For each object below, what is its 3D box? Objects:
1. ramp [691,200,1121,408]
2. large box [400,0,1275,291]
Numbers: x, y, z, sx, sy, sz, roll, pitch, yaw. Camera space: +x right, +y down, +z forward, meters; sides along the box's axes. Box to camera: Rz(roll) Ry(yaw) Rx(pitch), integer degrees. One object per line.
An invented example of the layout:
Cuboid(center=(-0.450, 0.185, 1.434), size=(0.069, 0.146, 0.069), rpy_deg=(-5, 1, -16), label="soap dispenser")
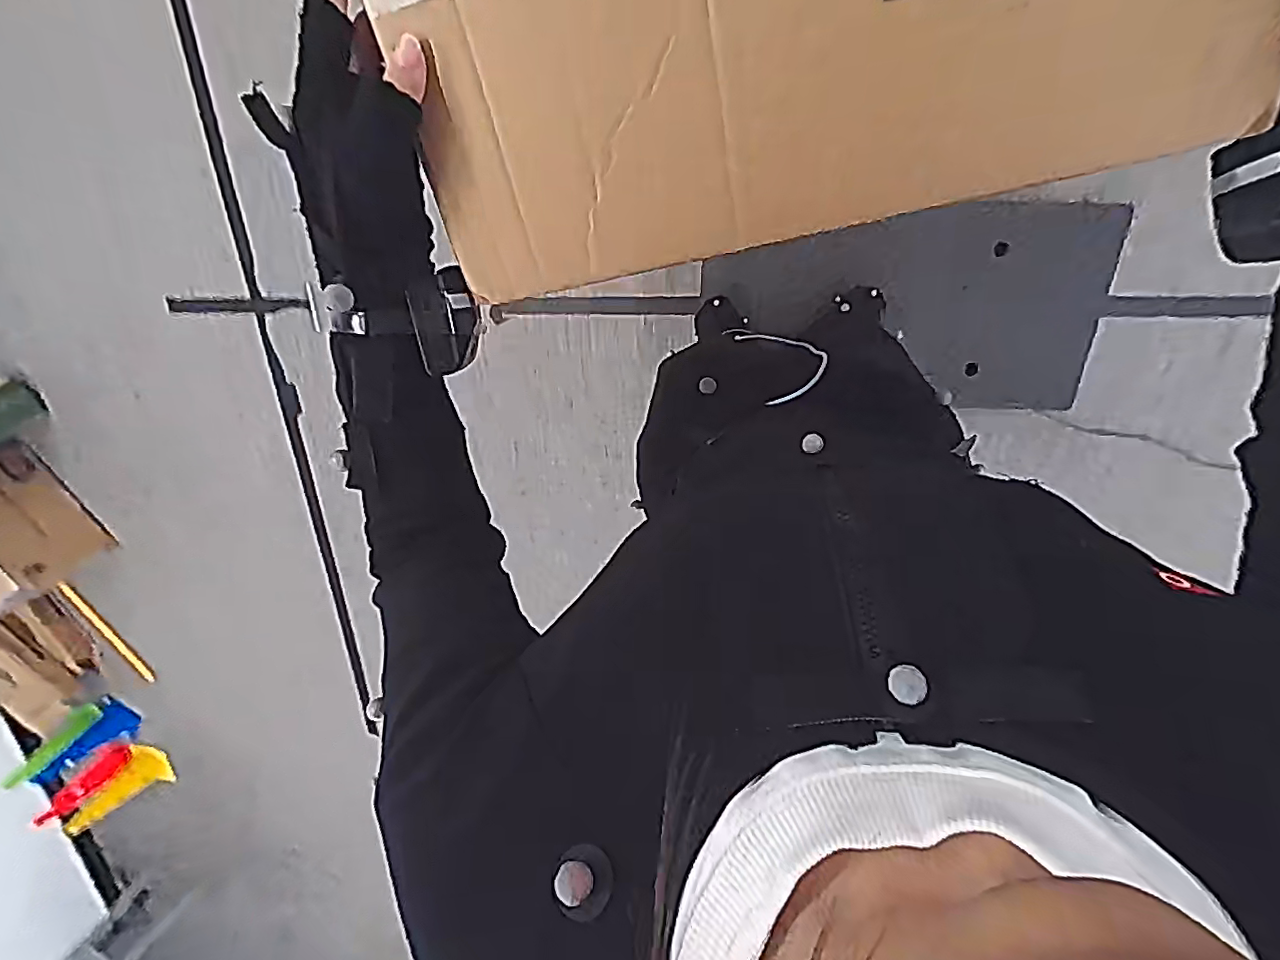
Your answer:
Cuboid(center=(0.632, -0.426, 1.341), size=(0.991, 0.206, 0.509), rpy_deg=(3, 110, 8), label="ramp")
Cuboid(center=(0.083, -0.349, 0.364), size=(0.408, 0.320, 0.320), rpy_deg=(-7, 118, 13), label="large box")
